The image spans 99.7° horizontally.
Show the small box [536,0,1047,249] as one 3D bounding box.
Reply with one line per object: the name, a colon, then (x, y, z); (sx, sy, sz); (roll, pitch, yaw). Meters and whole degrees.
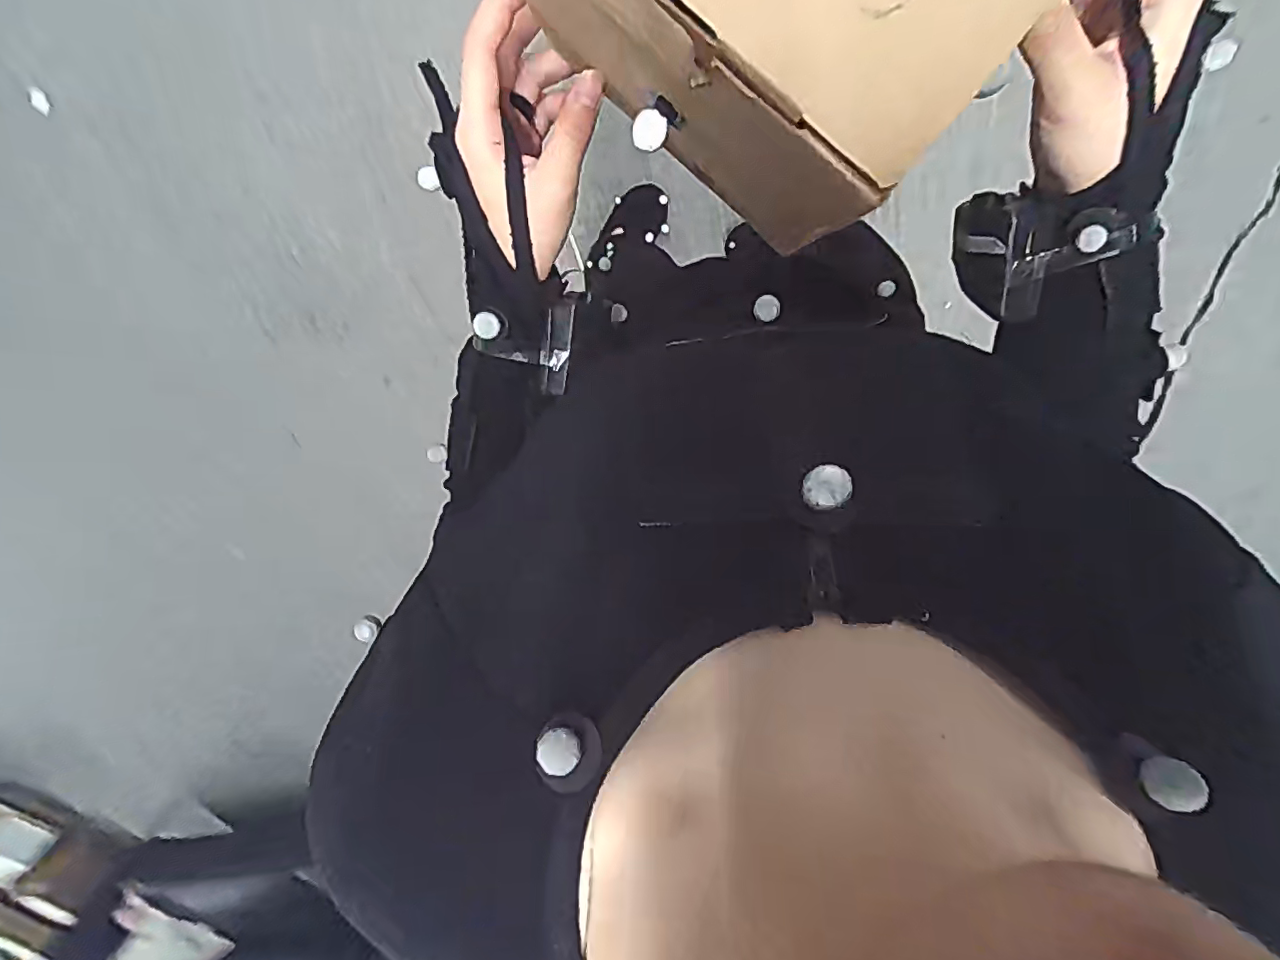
small box: (0.064, -0.212, 0.202); (0.168, 0.176, 0.179); (39, 108, -7)
